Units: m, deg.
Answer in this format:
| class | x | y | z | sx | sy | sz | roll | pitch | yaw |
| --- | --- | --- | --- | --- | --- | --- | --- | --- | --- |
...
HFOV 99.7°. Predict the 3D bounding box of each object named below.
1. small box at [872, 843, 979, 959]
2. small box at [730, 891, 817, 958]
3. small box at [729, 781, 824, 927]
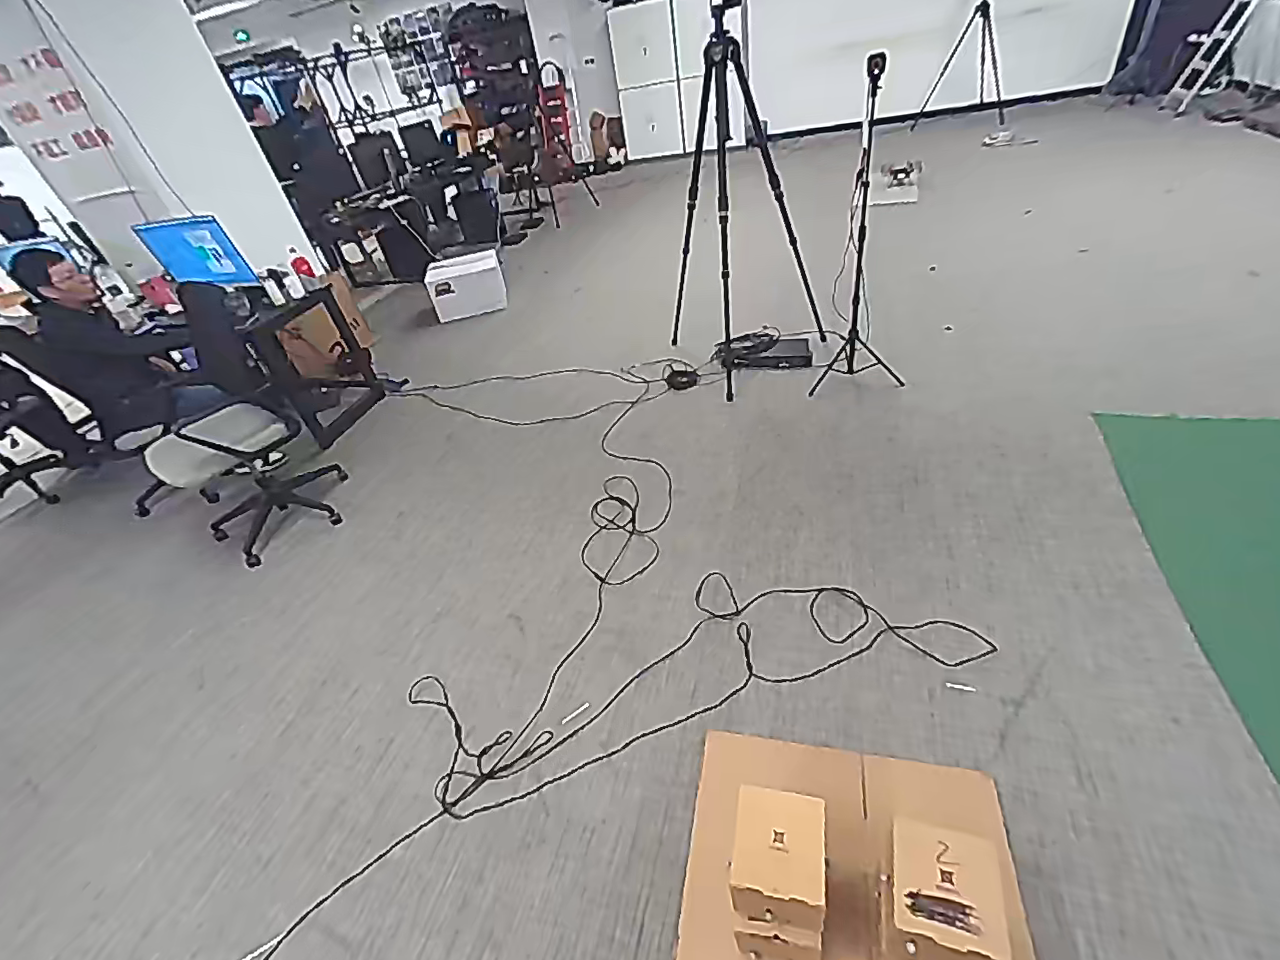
| class | x | y | z | sx | sy | sz | roll | pitch | yaw |
| --- | --- | --- | --- | --- | --- | --- | --- | --- | --- |
| small box | 0.555 | 0.866 | 1.071 | 0.168 | 0.176 | 0.179 | 4 | 42 | 21 |
| small box | 0.284 | 0.868 | 1.137 | 0.168 | 0.176 | 0.179 | 0 | 40 | 15 |
| small box | 0.268 | 0.726 | 1.054 | 0.168 | 0.176 | 0.179 | 2 | 41 | 17 |
